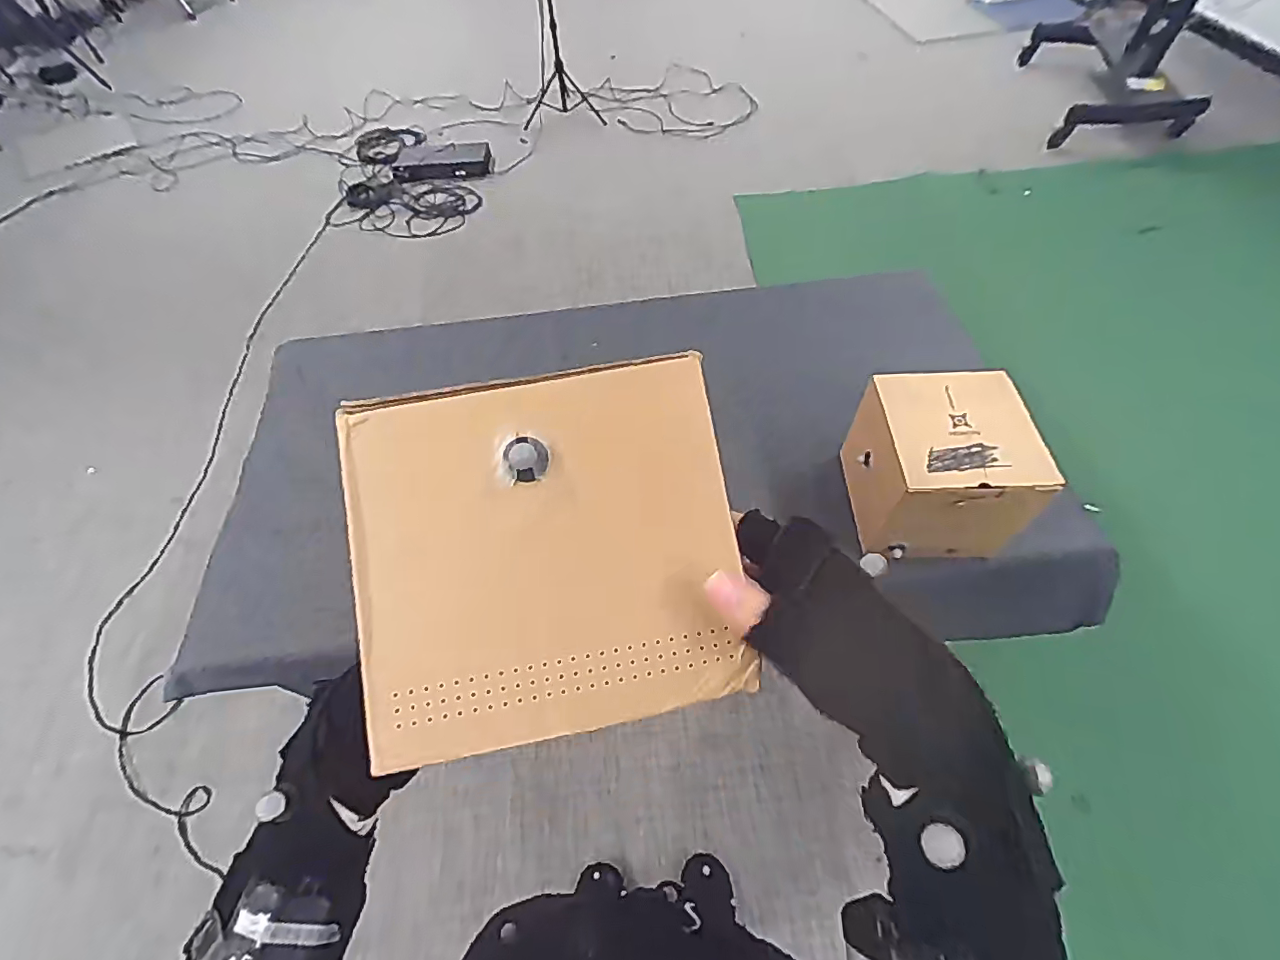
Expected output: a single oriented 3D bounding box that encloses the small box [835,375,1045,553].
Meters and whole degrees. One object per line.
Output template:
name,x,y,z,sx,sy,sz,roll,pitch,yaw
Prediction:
small box,0.369,-0.015,0.706,0.168,0.176,0.179,0,55,3
